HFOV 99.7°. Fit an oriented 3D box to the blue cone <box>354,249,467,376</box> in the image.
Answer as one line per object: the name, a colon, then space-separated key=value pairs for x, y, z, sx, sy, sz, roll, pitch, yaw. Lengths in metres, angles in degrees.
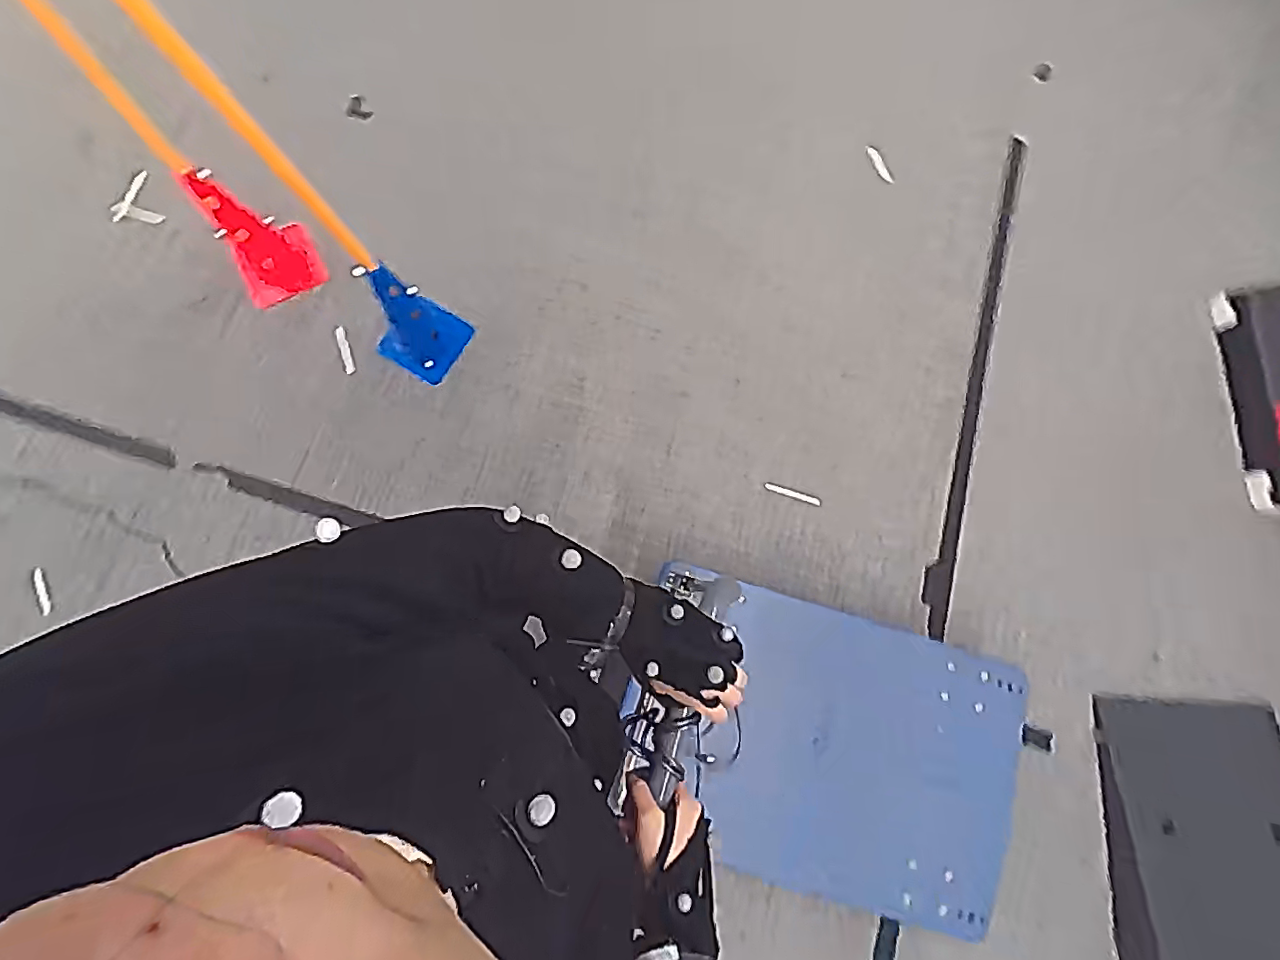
blue cone: x=-0.572 y=-0.419 z=1.292 sx=0.192 sy=0.380 sz=0.193 roll=32 pitch=79 yaw=3

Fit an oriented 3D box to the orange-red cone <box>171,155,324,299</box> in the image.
orange-red cone: x=-0.963 y=-0.629 z=1.292 sx=0.198 sy=0.360 sz=0.199 roll=-26 pitch=84 yaw=-7
